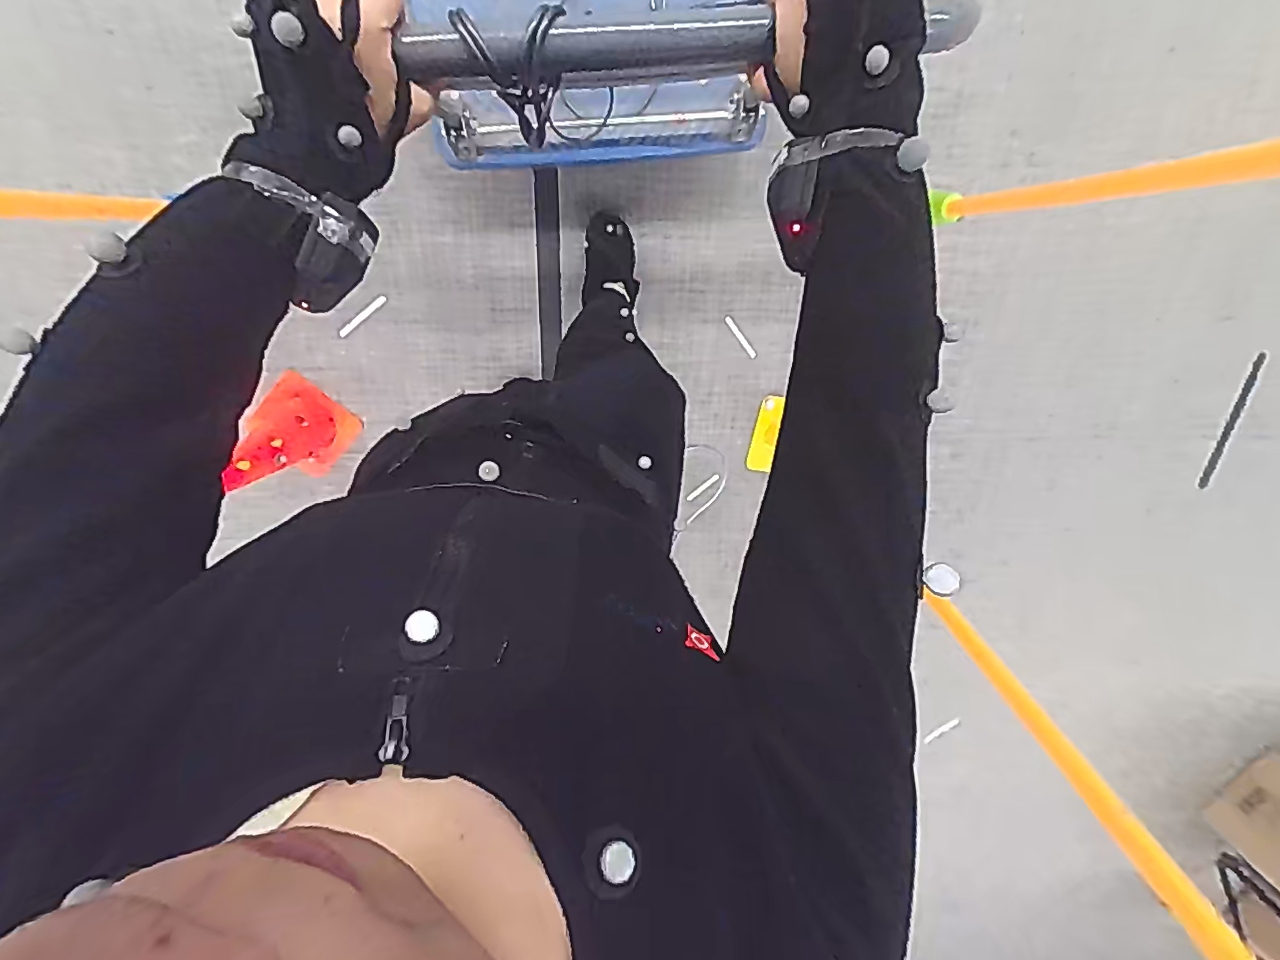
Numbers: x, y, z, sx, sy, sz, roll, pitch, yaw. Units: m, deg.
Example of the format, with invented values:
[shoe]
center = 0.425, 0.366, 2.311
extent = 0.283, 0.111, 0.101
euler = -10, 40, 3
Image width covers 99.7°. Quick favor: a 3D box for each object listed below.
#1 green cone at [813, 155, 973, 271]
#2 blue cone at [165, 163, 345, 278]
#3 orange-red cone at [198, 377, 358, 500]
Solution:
[green cone]
center = 0.490, -0.503, 1.015
extent = 0.200, 0.368, 0.202
euler = -13, 116, 1
[blue cone]
center = -0.689, -0.457, 0.954
extent = 0.193, 0.380, 0.192
euler = 13, 113, -11
[orange-red cone]
center = -0.777, -0.051, 1.111
extent = 0.199, 0.360, 0.198
euler = -42, 111, 12
